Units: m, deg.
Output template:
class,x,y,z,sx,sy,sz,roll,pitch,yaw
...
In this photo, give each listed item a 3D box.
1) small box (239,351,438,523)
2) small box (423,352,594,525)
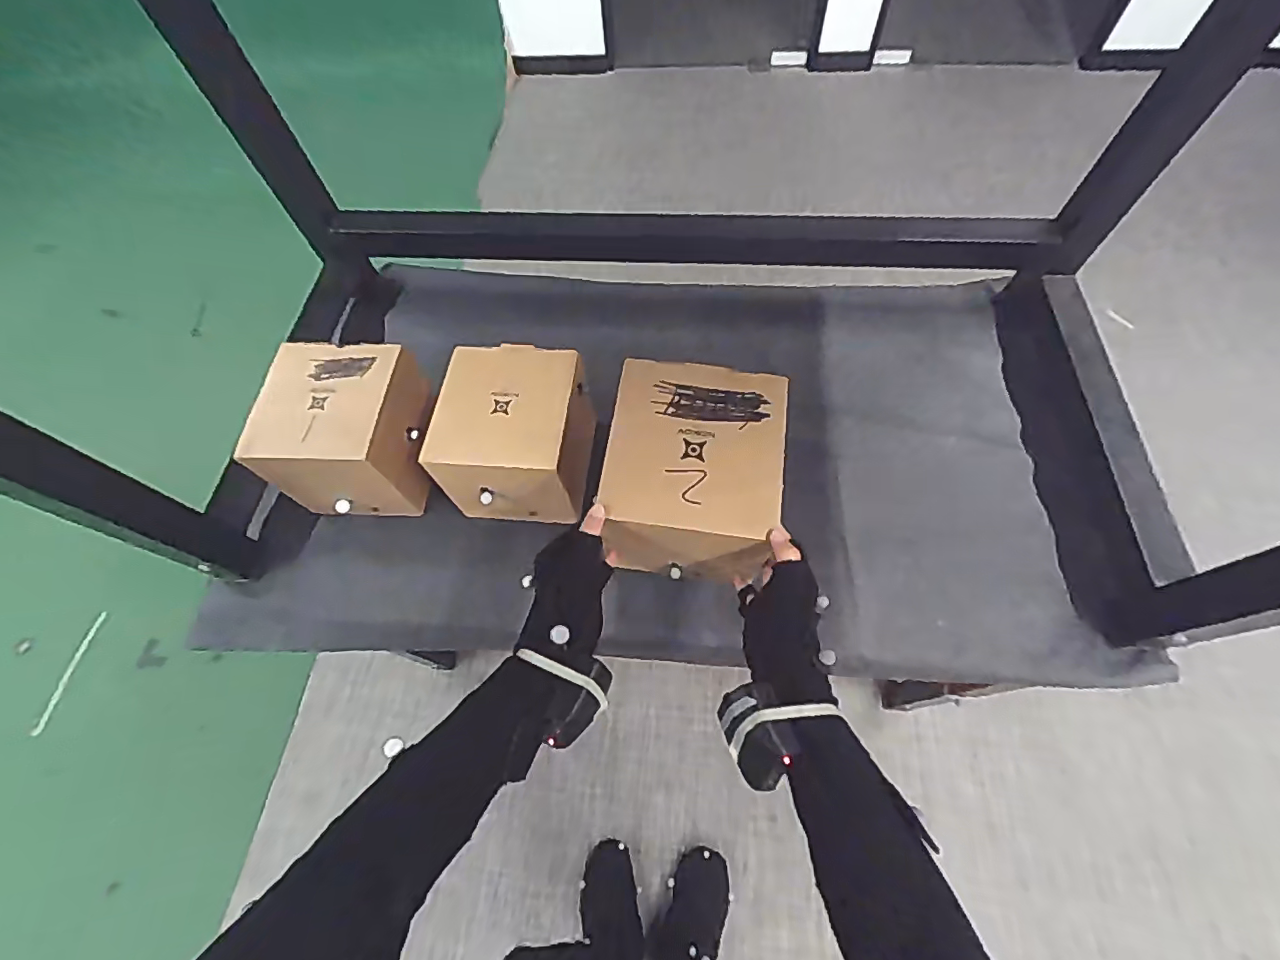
class,x,y,z,sx,sy,sz,roll,pitch,yaw
small box,-0.387,-0.056,0.744,0.168,0.176,0.179,1,62,4
small box,-0.160,-0.050,0.728,0.168,0.176,0.179,3,62,5
